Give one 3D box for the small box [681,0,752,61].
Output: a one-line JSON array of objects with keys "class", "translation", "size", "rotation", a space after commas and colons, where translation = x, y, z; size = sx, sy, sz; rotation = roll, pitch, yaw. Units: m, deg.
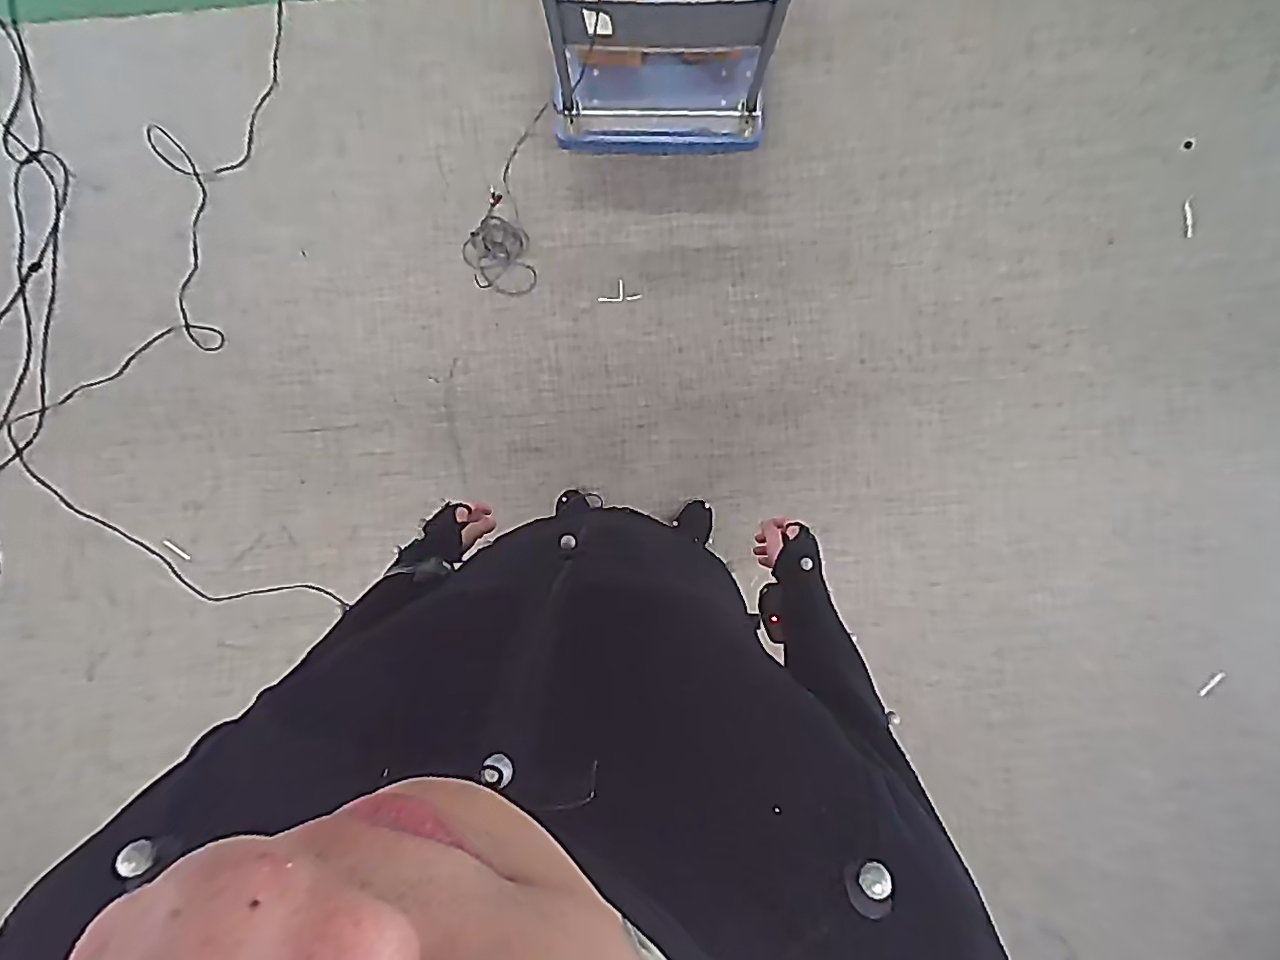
[{"class": "small box", "translation": [0.194, -1.235, 1.395], "size": [0.168, 0.176, 0.179], "rotation": [2, 91, 1]}]
